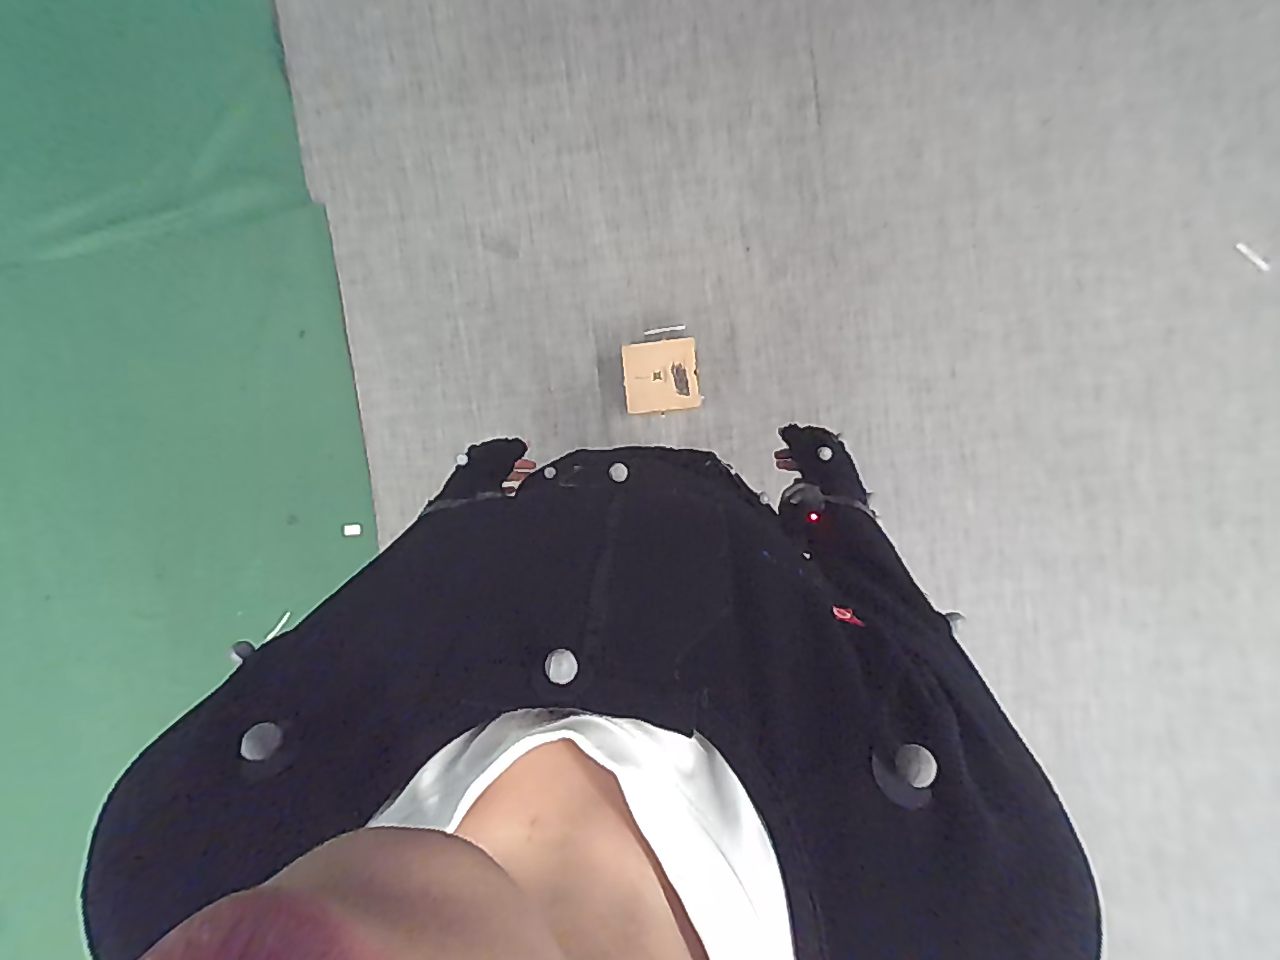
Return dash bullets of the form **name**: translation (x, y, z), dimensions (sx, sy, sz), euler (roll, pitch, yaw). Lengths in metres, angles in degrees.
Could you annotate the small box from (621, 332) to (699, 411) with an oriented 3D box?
- **small box**: translation (0.055, -0.268, 1.362), dimensions (0.179, 0.176, 0.168), euler (-5, 93, 7)
